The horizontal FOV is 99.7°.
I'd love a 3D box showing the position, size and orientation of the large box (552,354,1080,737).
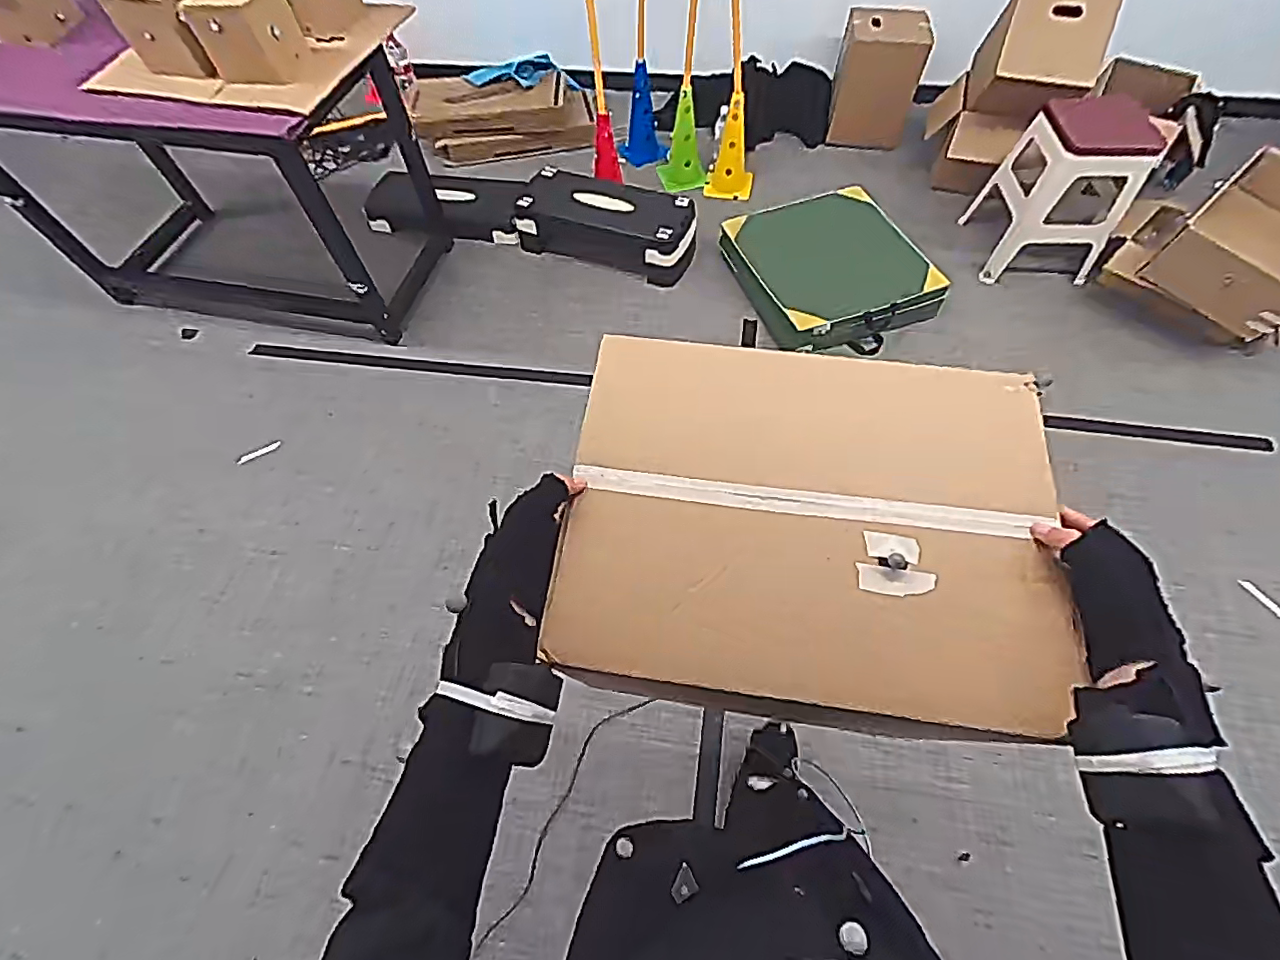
[{"bbox_3d":[0.146,0.092,0.603,0.408,0.320,0.320,7,66,5],"label":"large box"}]
